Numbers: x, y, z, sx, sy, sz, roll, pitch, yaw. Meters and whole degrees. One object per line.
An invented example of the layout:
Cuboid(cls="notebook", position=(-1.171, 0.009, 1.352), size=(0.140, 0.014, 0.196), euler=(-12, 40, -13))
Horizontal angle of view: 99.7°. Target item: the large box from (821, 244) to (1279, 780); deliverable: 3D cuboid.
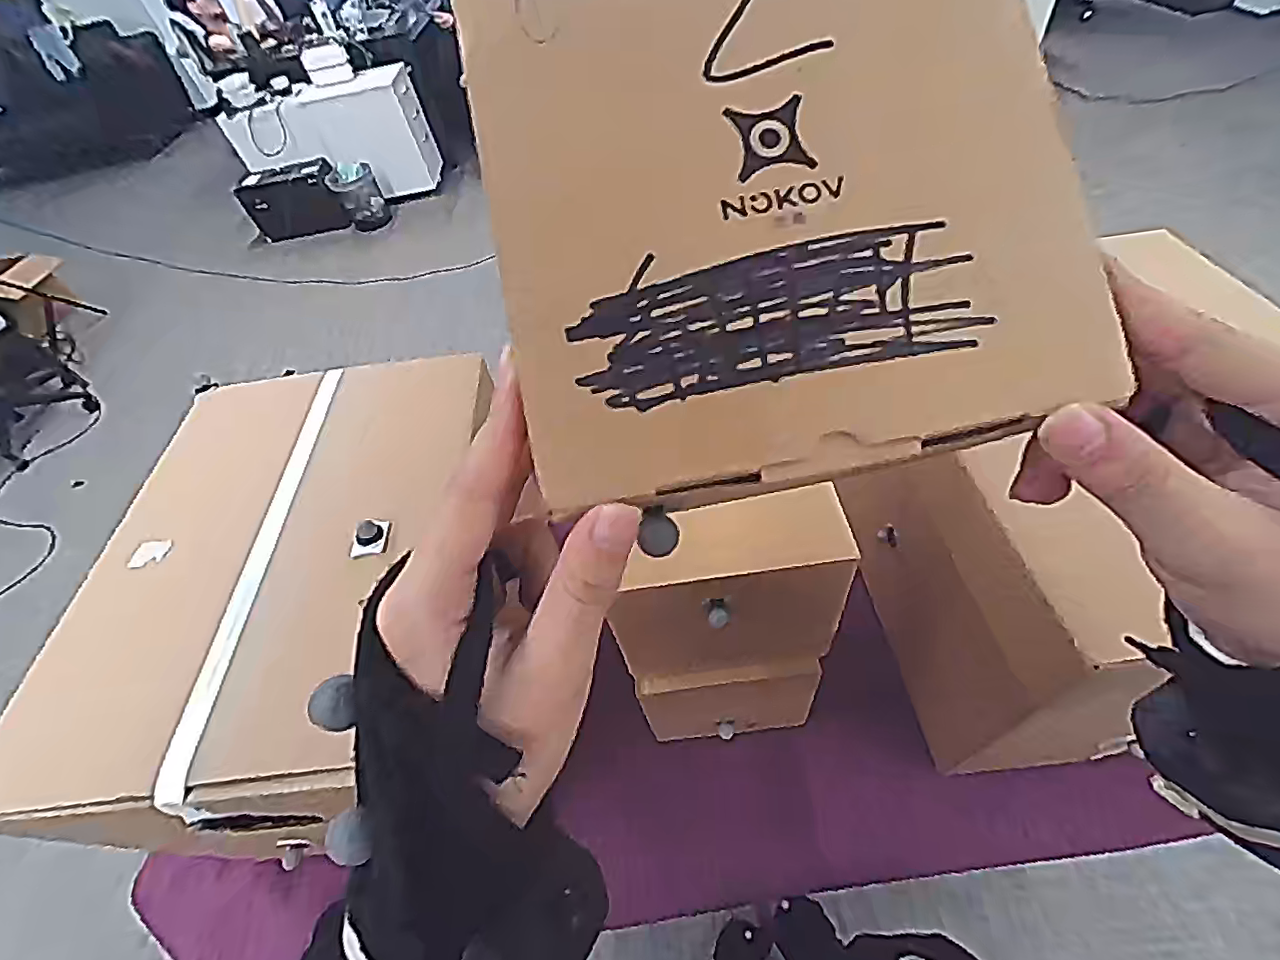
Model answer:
Cuboid(cls="large box", position=(0.406, 0.030, 0.544), size=(0.320, 0.320, 0.408), euler=(-9, 50, 3))
